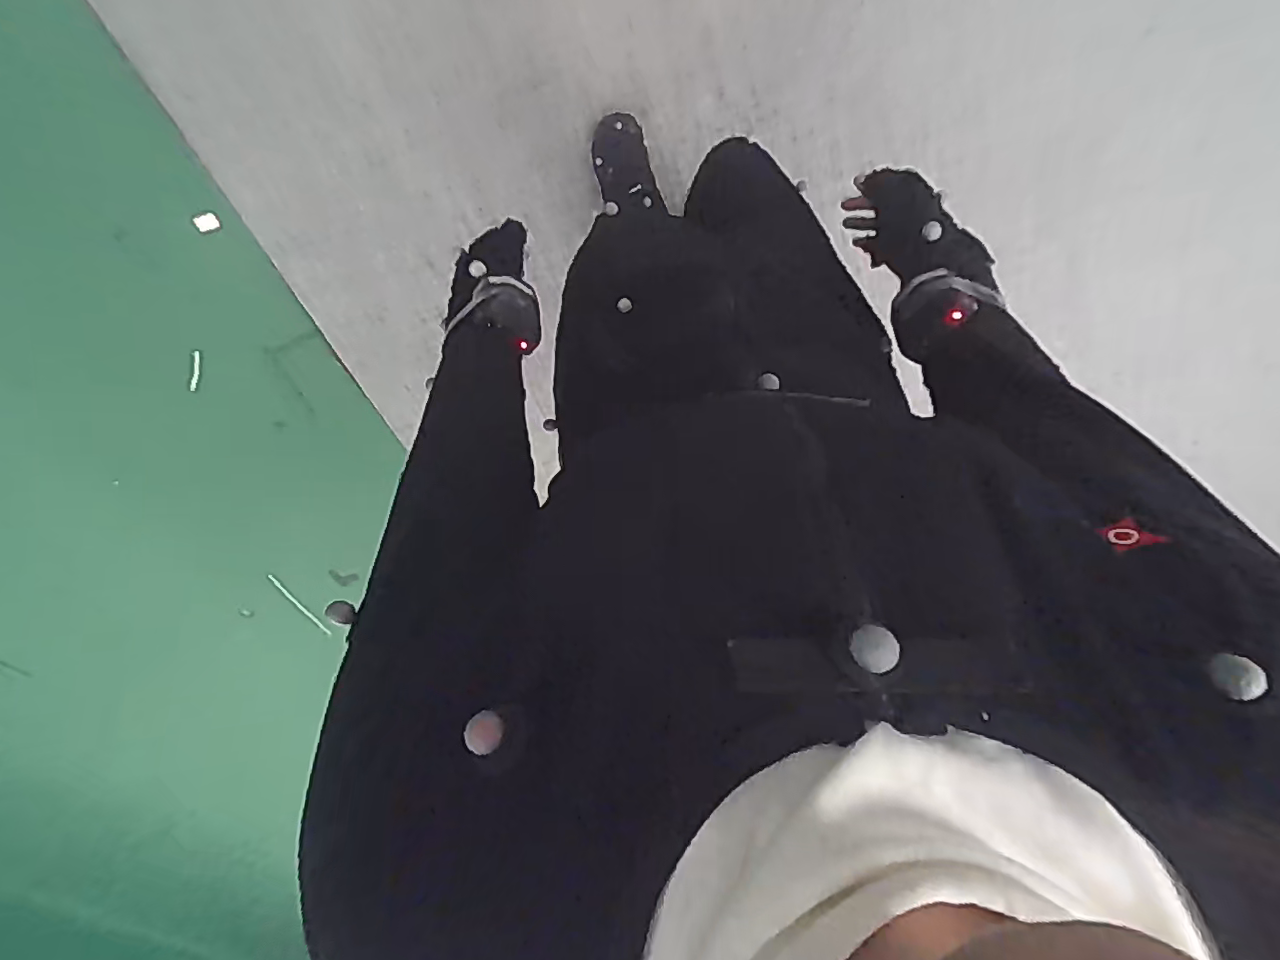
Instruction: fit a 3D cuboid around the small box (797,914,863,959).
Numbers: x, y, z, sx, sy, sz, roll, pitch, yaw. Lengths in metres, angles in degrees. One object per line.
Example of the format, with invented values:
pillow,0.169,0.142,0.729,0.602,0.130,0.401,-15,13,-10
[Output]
small box,0.613,1.521,1.723,0.179,0.176,0.168,-21,124,11
